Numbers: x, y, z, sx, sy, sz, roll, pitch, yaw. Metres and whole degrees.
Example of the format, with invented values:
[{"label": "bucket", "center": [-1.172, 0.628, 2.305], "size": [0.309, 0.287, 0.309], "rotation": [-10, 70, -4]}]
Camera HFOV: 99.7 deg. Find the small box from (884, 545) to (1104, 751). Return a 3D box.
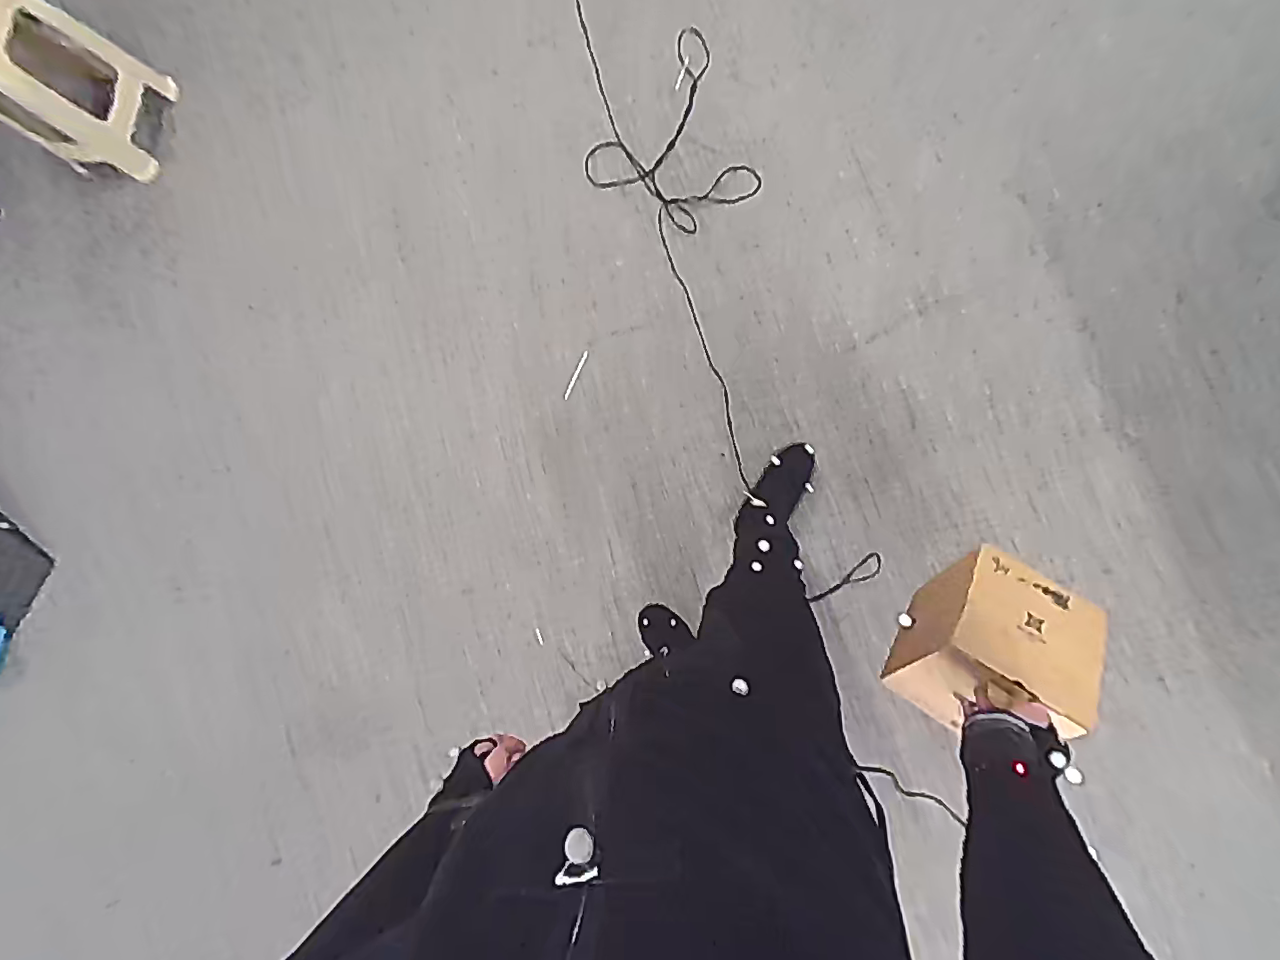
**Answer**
[{"label": "small box", "center": [0.457, 0.227, 0.719], "size": [0.168, 0.176, 0.179], "rotation": [35, 56, 14]}]
